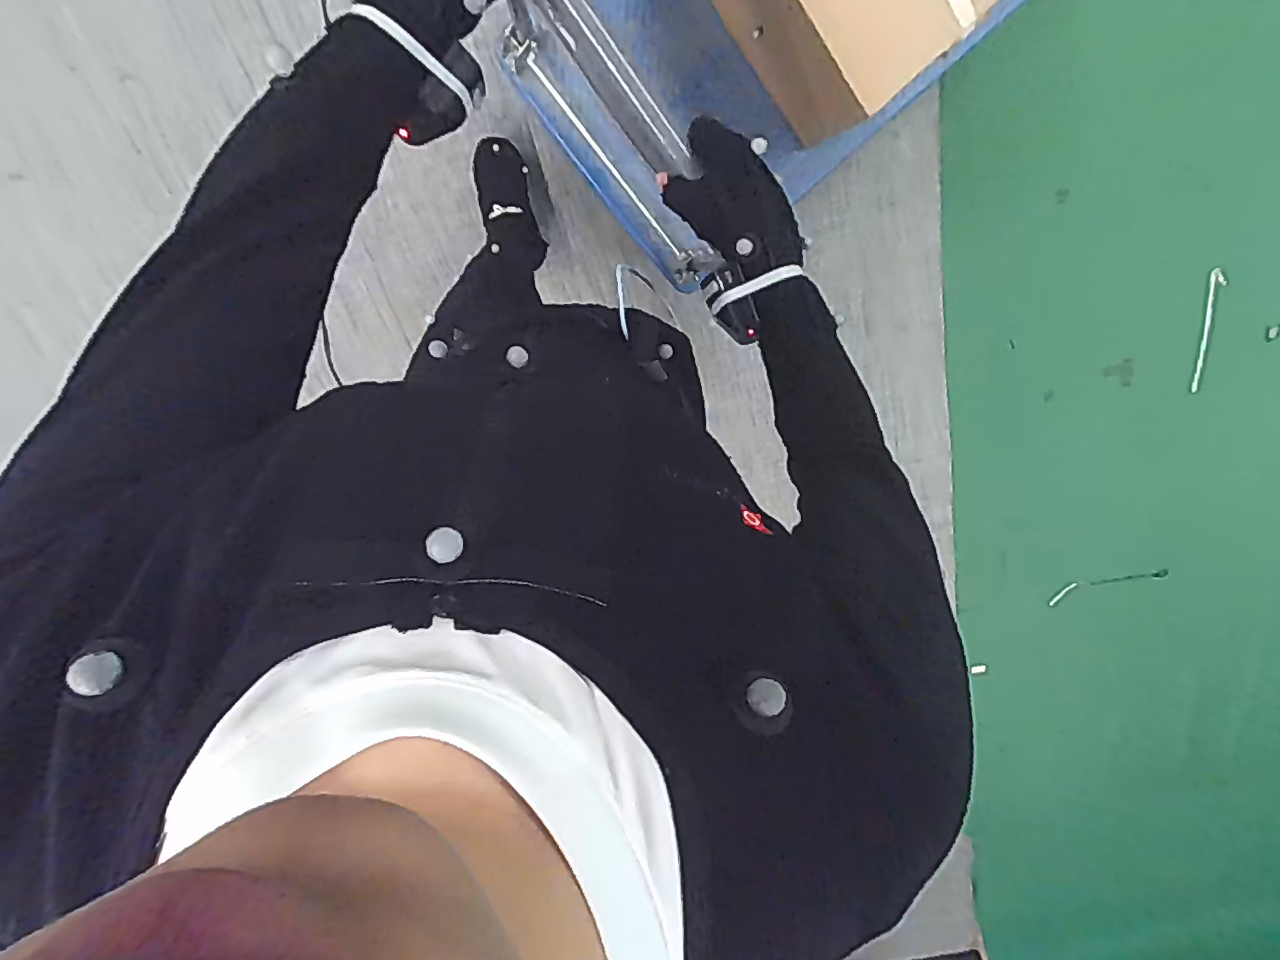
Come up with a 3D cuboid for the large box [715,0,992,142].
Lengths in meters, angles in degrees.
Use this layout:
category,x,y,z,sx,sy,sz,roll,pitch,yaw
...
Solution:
category,x,y,z,sx,sy,sz,roll,pitch,yaw
large box,0.314,-0.819,0.823,0.320,0.320,0.408,-39,109,15
